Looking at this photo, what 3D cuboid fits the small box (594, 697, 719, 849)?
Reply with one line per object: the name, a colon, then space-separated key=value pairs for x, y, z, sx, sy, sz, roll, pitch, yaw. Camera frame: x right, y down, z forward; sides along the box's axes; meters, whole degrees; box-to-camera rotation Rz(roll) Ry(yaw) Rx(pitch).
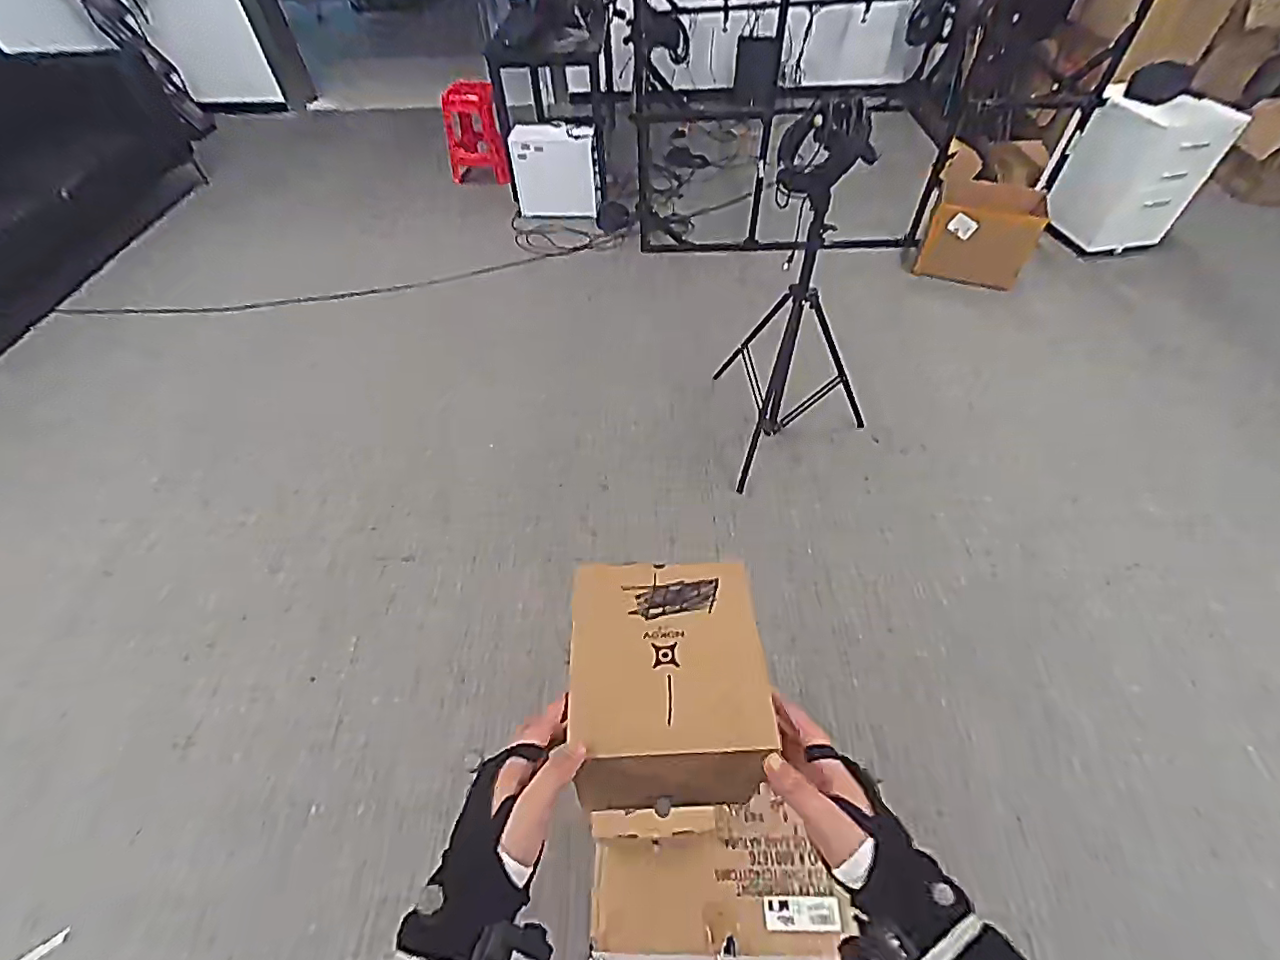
small box: x=0.022 y=0.445 z=0.818 sx=0.168 sy=0.176 sz=0.179 roll=-5 pitch=53 yaw=1
